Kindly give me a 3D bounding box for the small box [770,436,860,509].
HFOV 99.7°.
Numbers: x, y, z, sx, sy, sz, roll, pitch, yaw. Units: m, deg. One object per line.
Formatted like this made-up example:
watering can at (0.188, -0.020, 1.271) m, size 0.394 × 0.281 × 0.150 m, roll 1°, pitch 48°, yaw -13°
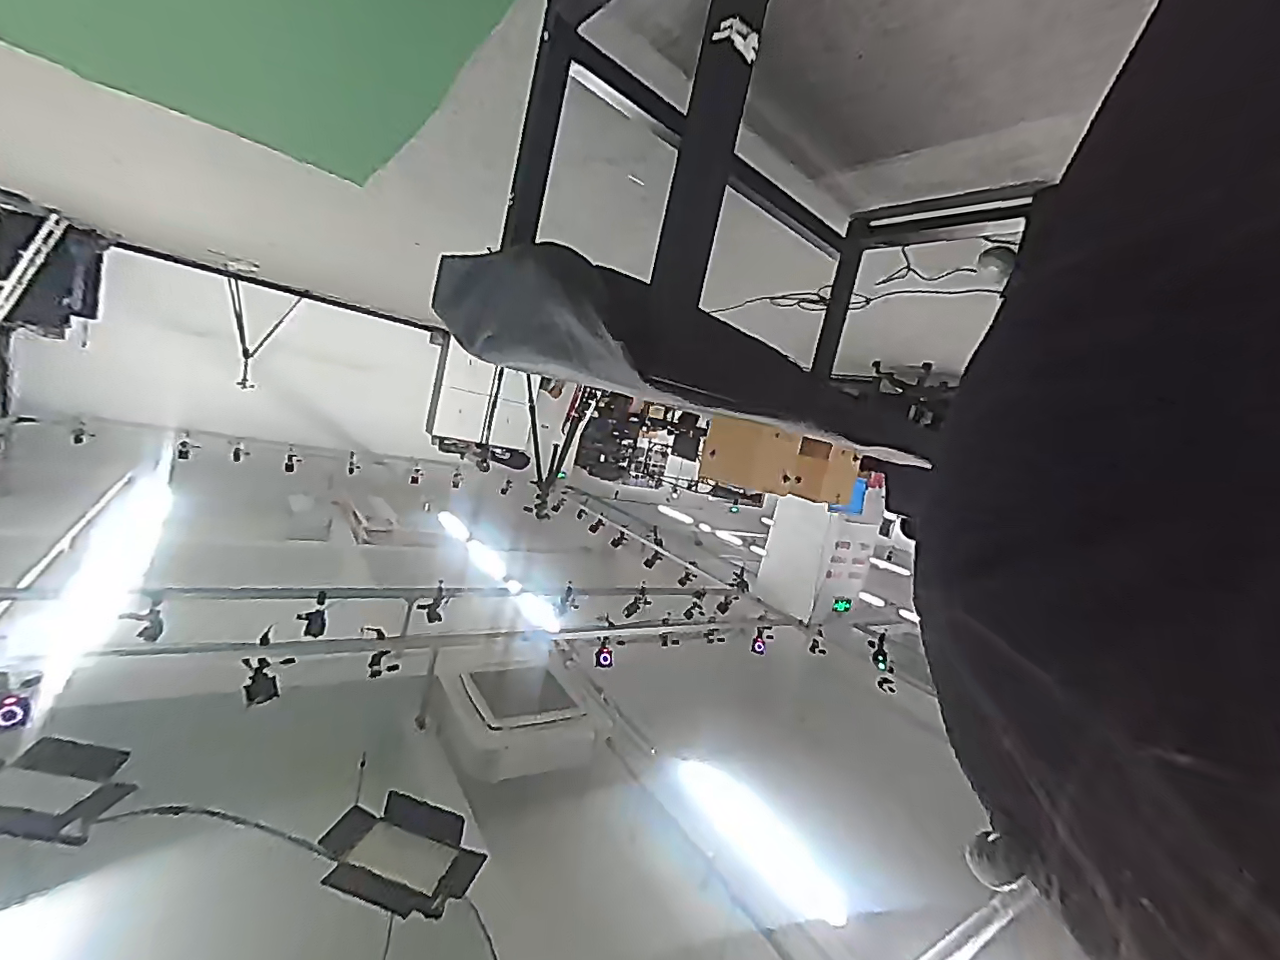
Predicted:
small box at (0.503, -0.025, 1.539) m, size 0.168 × 0.176 × 0.179 m, roll 9°, pitch -172°, yaw -40°
